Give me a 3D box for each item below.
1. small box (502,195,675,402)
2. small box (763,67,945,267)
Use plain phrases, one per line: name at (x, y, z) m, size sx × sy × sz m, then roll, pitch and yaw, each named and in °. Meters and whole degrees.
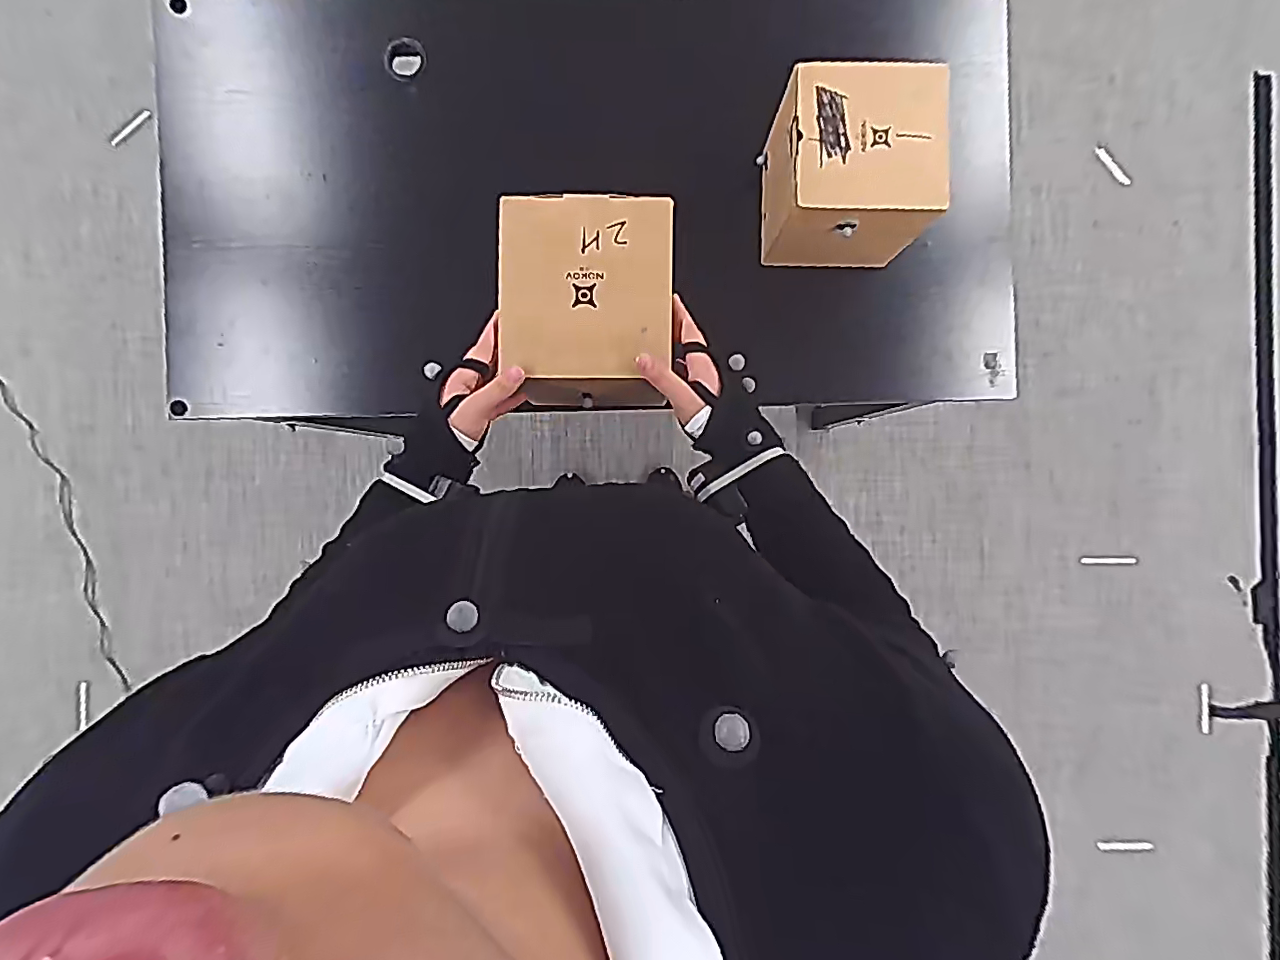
small box at (-0.049, -0.184, 0.598) m, size 0.168 × 0.176 × 0.179 m, roll 1°, pitch 88°, yaw -1°
small box at (0.261, -0.388, 0.698) m, size 0.179 × 0.176 × 0.168 m, roll 1°, pitch 90°, yaw -1°
